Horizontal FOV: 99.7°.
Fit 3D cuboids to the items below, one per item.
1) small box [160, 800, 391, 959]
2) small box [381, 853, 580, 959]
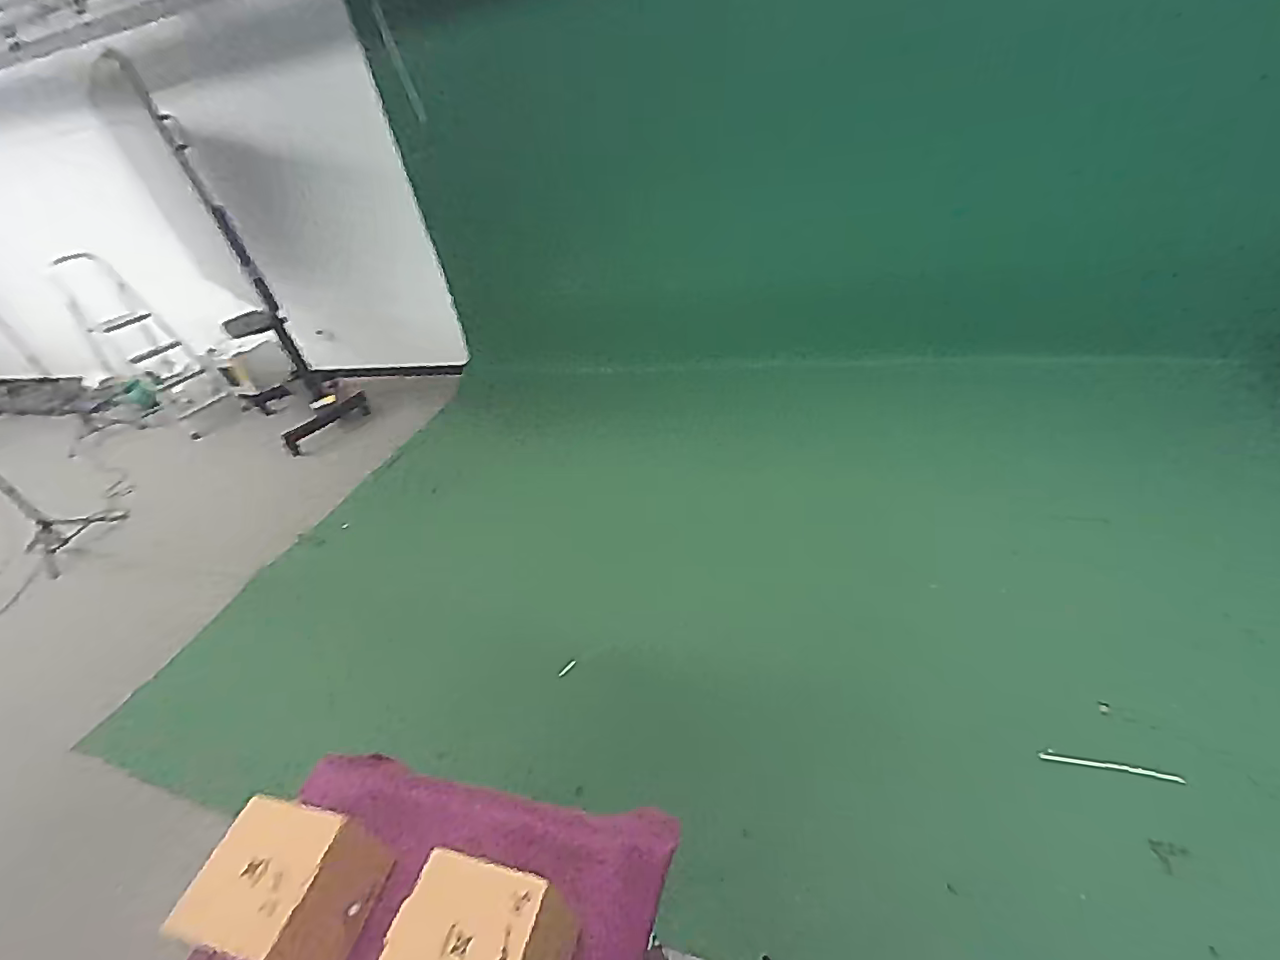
[{"bbox_3d":[-0.503,0.593,0.774,0.179,0.176,0.168,2,41,16],"label":"small box"},{"bbox_3d":[-0.198,0.609,0.677,0.179,0.176,0.168,1,39,20],"label":"small box"}]
